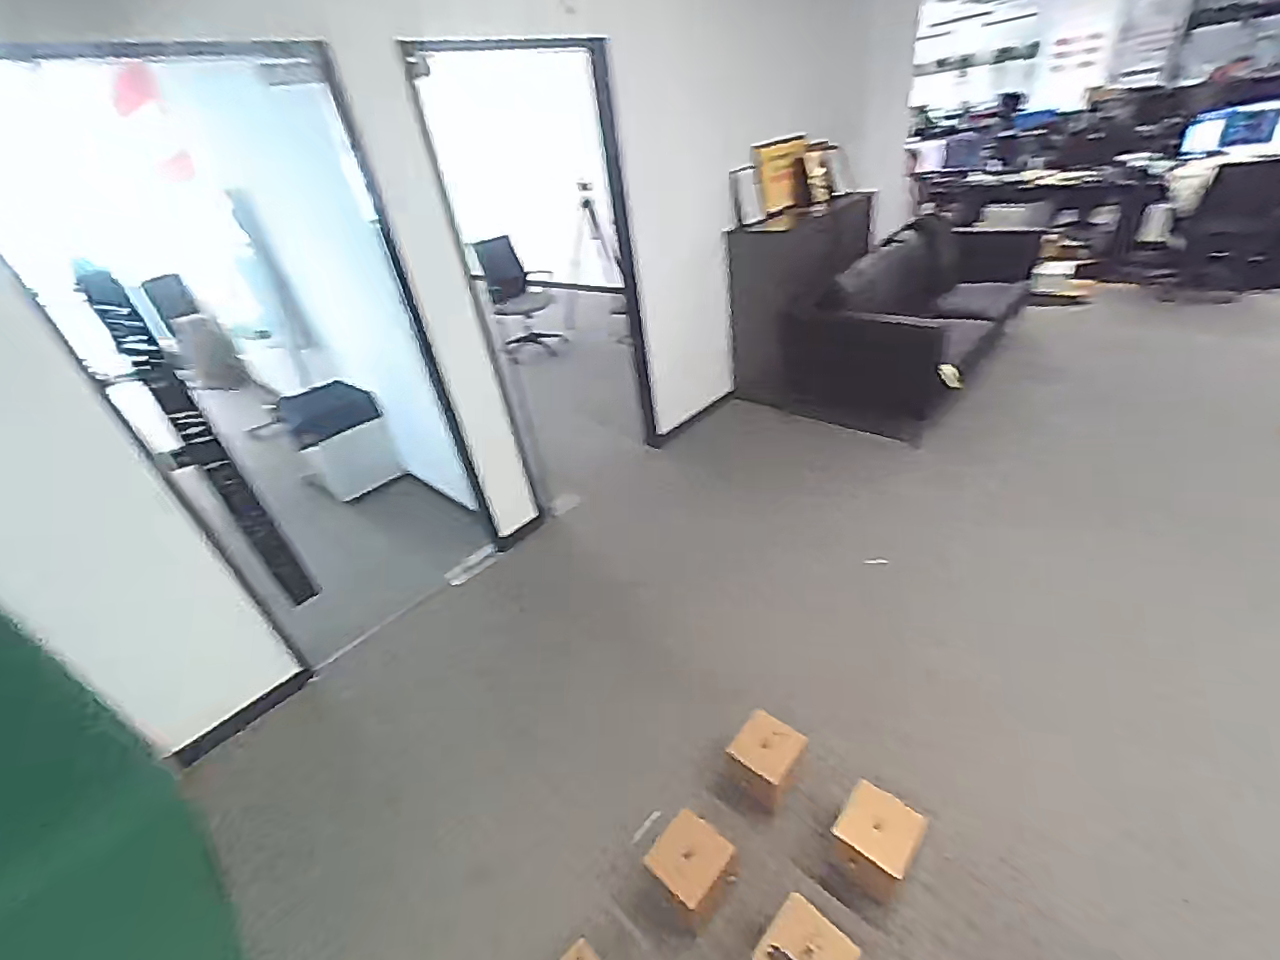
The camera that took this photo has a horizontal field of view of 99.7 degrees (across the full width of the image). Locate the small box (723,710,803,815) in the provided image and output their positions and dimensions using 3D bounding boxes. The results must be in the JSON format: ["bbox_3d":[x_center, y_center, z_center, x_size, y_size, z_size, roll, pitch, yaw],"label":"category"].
[{"bbox_3d":[0.364,0.829,1.584,0.168,0.176,0.179,22,43,38],"label":"small box"}]

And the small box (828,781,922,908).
[{"bbox_3d":[0.594,0.928,1.377,0.168,0.176,0.179,21,42,39],"label":"small box"}]

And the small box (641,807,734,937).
[{"bbox_3d":[0.124,0.998,1.379,0.168,0.176,0.179,21,43,40],"label":"small box"}]
